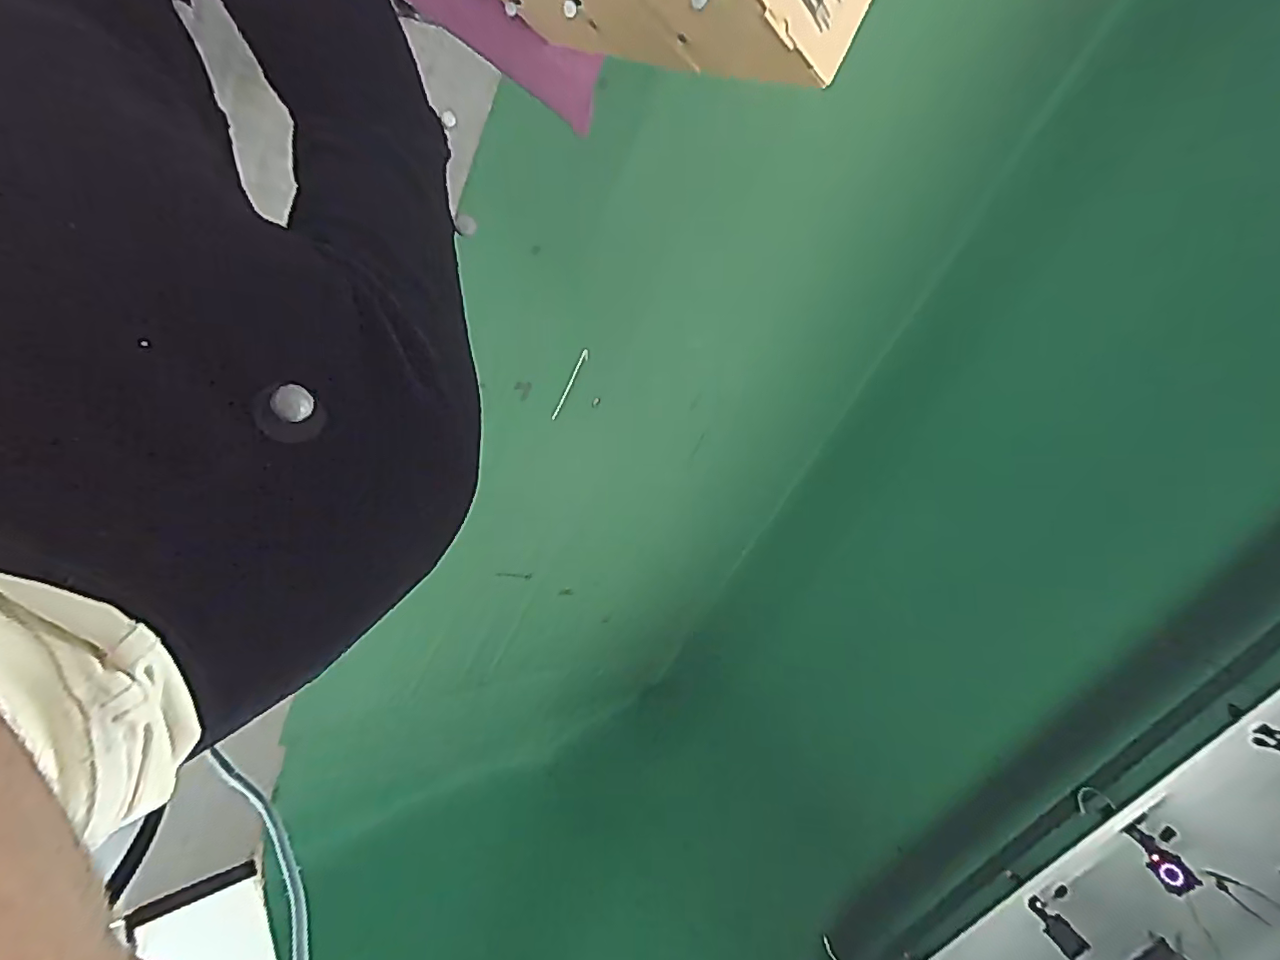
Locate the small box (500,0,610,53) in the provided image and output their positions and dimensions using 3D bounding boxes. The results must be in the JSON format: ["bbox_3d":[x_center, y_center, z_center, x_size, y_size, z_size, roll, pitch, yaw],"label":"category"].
[{"bbox_3d":[-0.103,-0.658,0.637,0.179,0.176,0.168,7,119,-51],"label":"small box"}]

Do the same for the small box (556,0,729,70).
[{"bbox_3d":[-0.001,-0.569,0.547,0.168,0.176,0.179,8,119,-49],"label":"small box"}]
